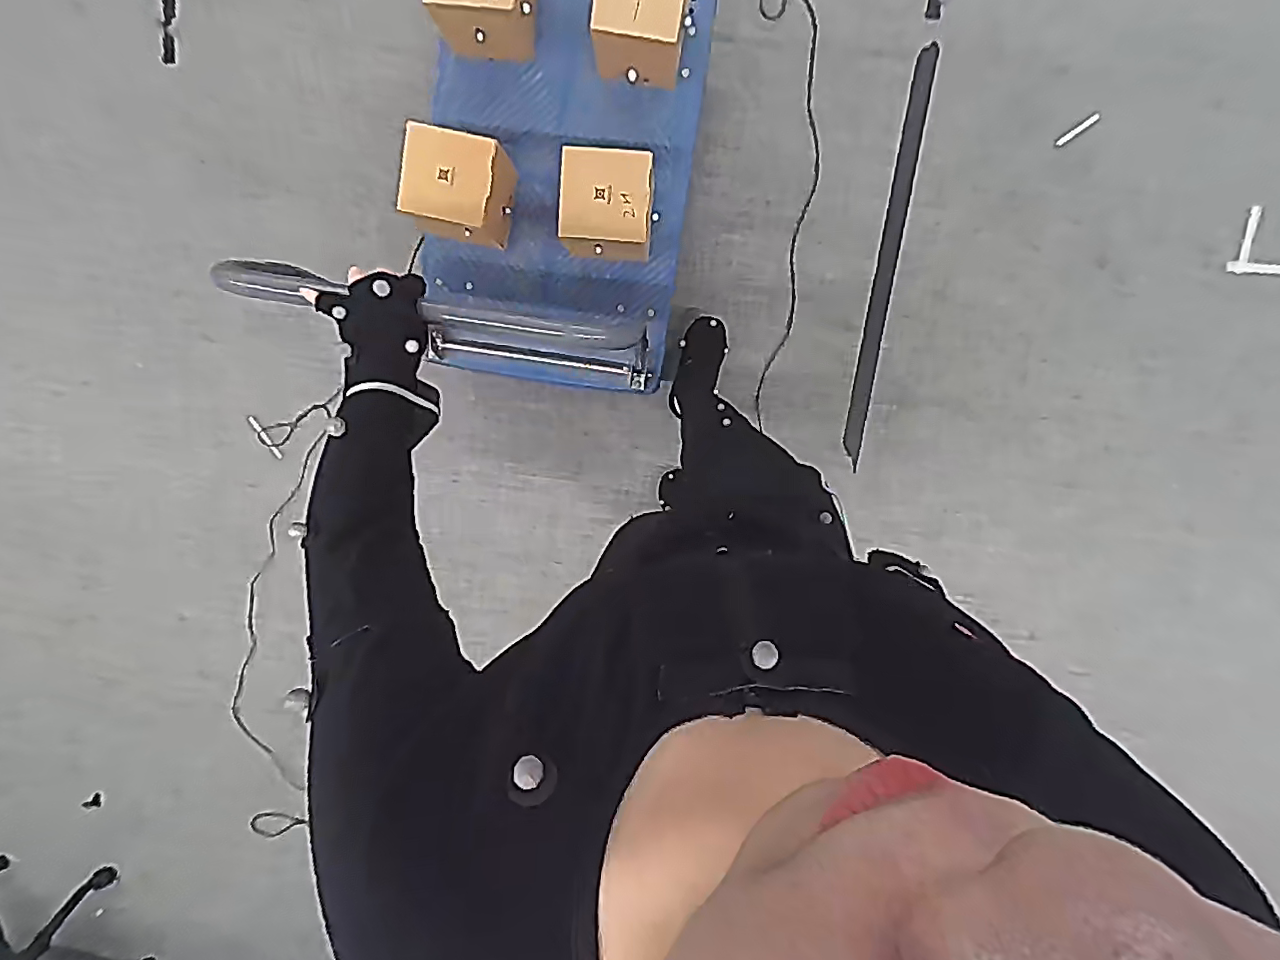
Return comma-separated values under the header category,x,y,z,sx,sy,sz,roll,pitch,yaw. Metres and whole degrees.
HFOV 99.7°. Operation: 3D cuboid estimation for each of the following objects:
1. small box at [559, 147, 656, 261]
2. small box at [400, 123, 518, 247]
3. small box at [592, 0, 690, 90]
category,x,y,z,sx,sy,sz,roll,pitch,yaw
small box,-0.062,-0.560,1.118,0.179,0.176,0.168,5,100,2
small box,-0.369,-0.600,1.124,0.179,0.176,0.168,11,100,-1
small box,0.008,-0.912,1.055,0.168,0.176,0.179,10,101,1
